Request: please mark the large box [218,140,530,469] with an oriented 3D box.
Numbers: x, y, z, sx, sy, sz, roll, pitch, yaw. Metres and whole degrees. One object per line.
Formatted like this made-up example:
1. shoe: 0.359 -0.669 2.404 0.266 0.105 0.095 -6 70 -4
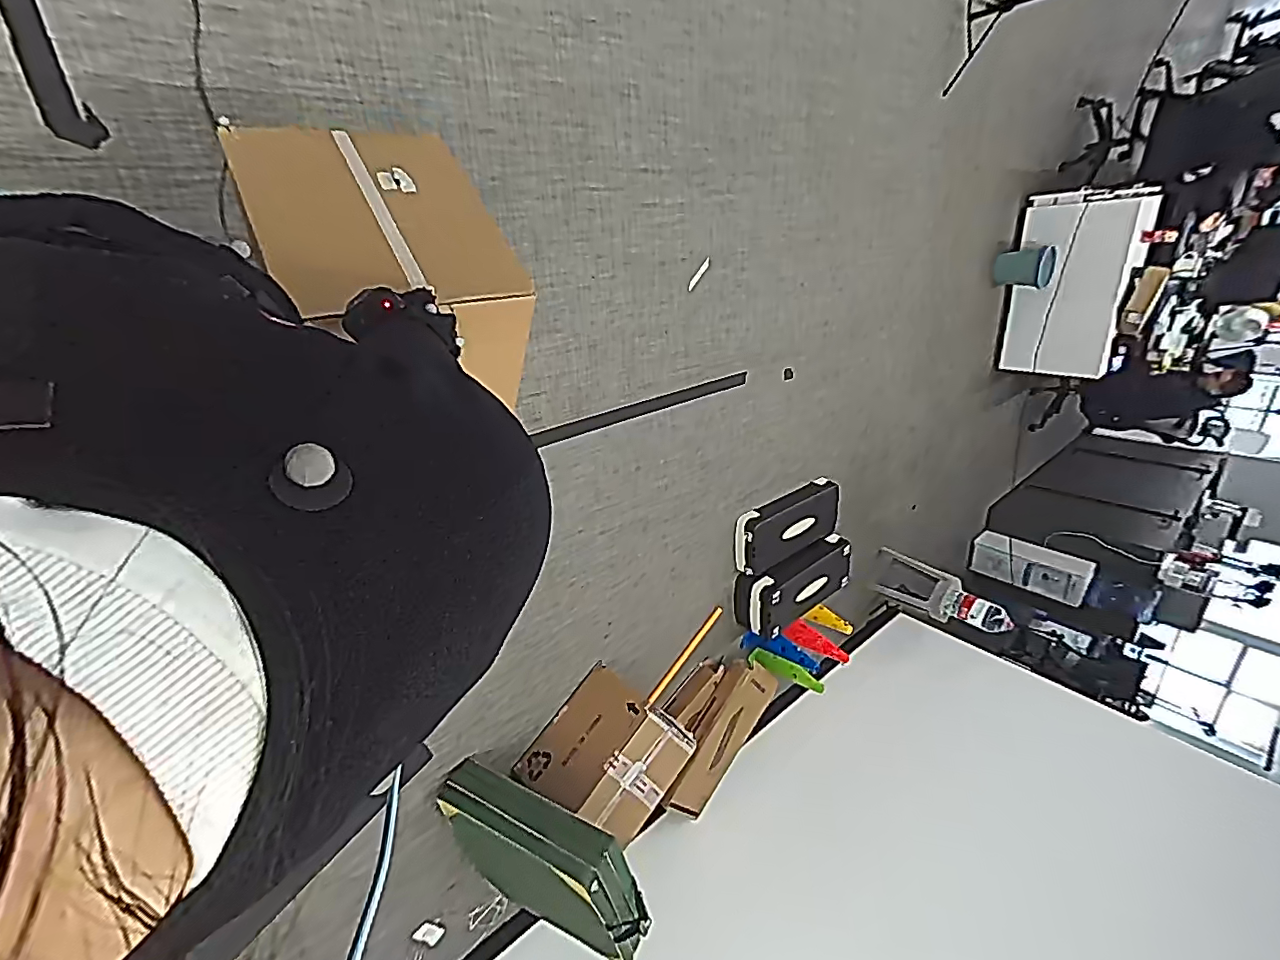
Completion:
1. large box: -0.425 -0.291 0.897 0.320 0.408 0.320 -19 154 -32
